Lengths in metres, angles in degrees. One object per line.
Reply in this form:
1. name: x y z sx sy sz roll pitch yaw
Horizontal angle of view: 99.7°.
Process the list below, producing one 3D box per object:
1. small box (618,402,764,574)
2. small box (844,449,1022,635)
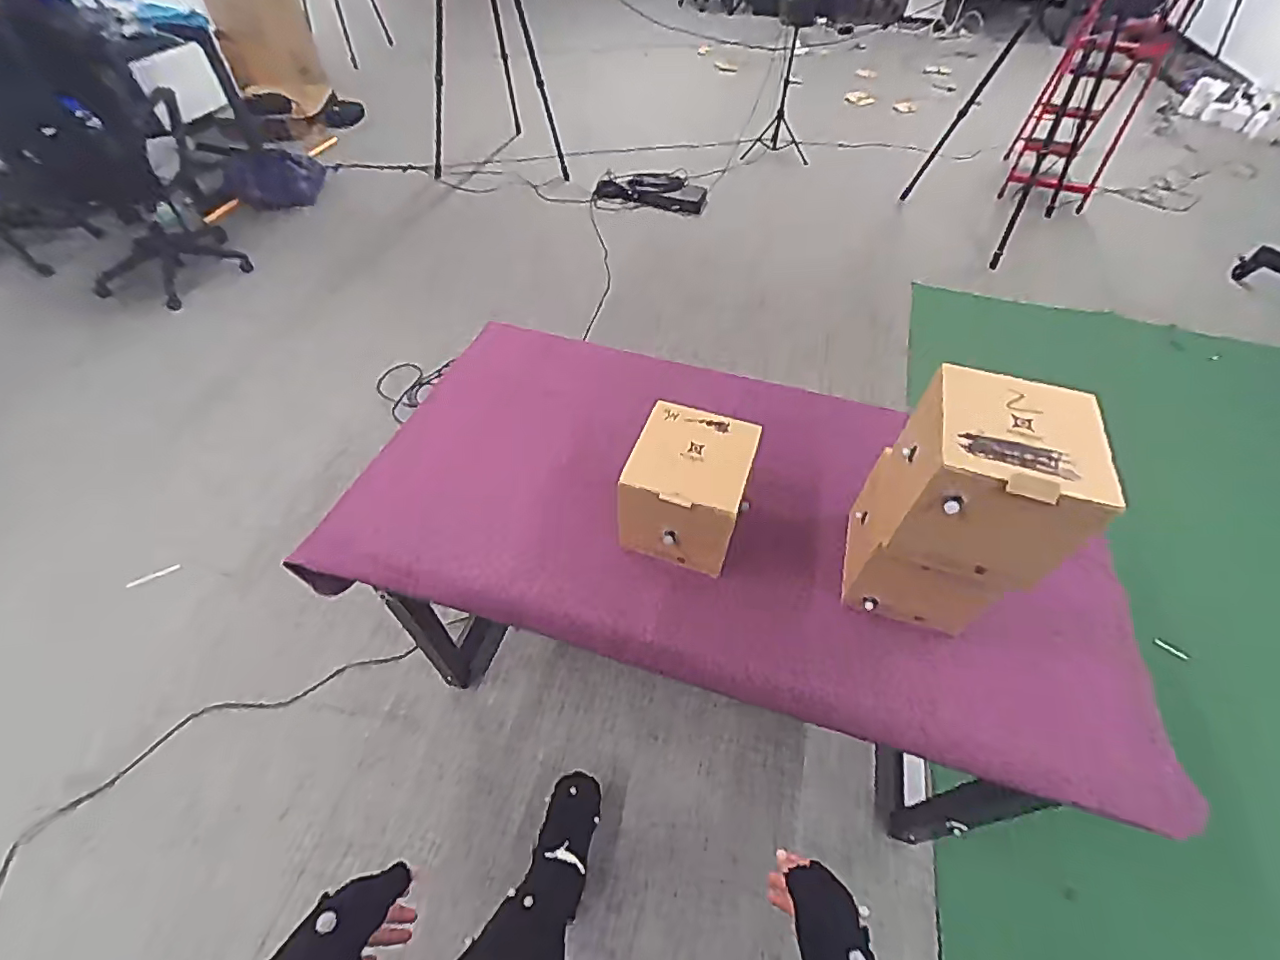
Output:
1. small box: 0.075 0.016 0.819 0.168 0.176 0.179 17 53 11
2. small box: 0.404 0.092 0.765 0.168 0.176 0.179 19 53 11
